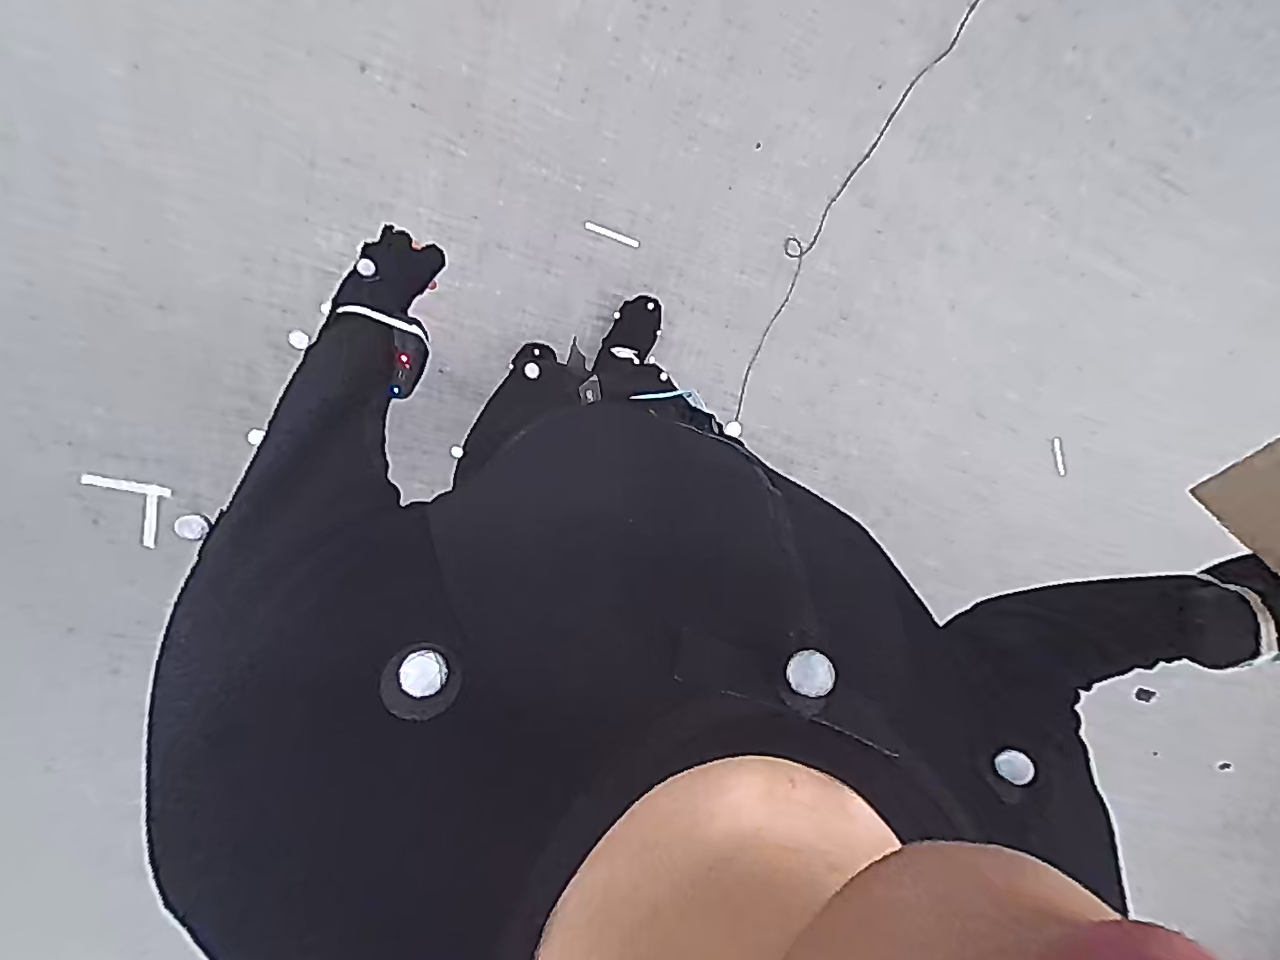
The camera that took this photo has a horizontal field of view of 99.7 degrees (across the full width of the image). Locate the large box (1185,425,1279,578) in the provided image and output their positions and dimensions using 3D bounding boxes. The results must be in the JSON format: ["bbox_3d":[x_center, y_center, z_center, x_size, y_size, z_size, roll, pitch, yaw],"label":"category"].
[{"bbox_3d":[0.511,0.039,0.184,0.408,0.320,0.320,-10,149,-51],"label":"large box"}]
